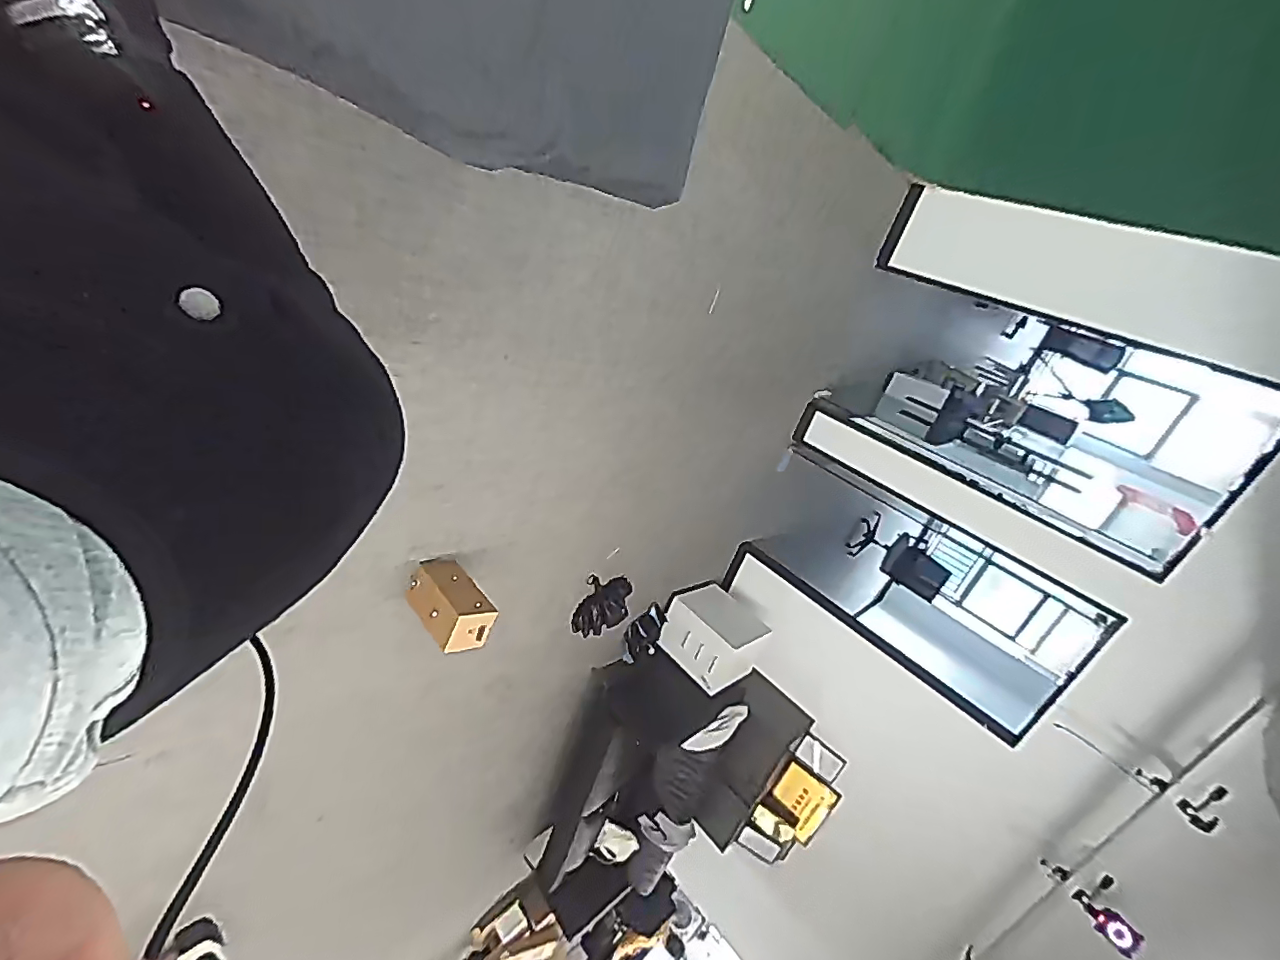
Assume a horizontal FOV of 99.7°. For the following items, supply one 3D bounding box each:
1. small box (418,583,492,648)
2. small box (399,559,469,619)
[{"bbox_3d":[-0.701,0.505,2.042,0.179,0.176,0.168,9,111,-54],"label":"small box"},{"bbox_3d":[-0.813,0.423,2.131,0.179,0.176,0.168,8,112,-53],"label":"small box"}]
